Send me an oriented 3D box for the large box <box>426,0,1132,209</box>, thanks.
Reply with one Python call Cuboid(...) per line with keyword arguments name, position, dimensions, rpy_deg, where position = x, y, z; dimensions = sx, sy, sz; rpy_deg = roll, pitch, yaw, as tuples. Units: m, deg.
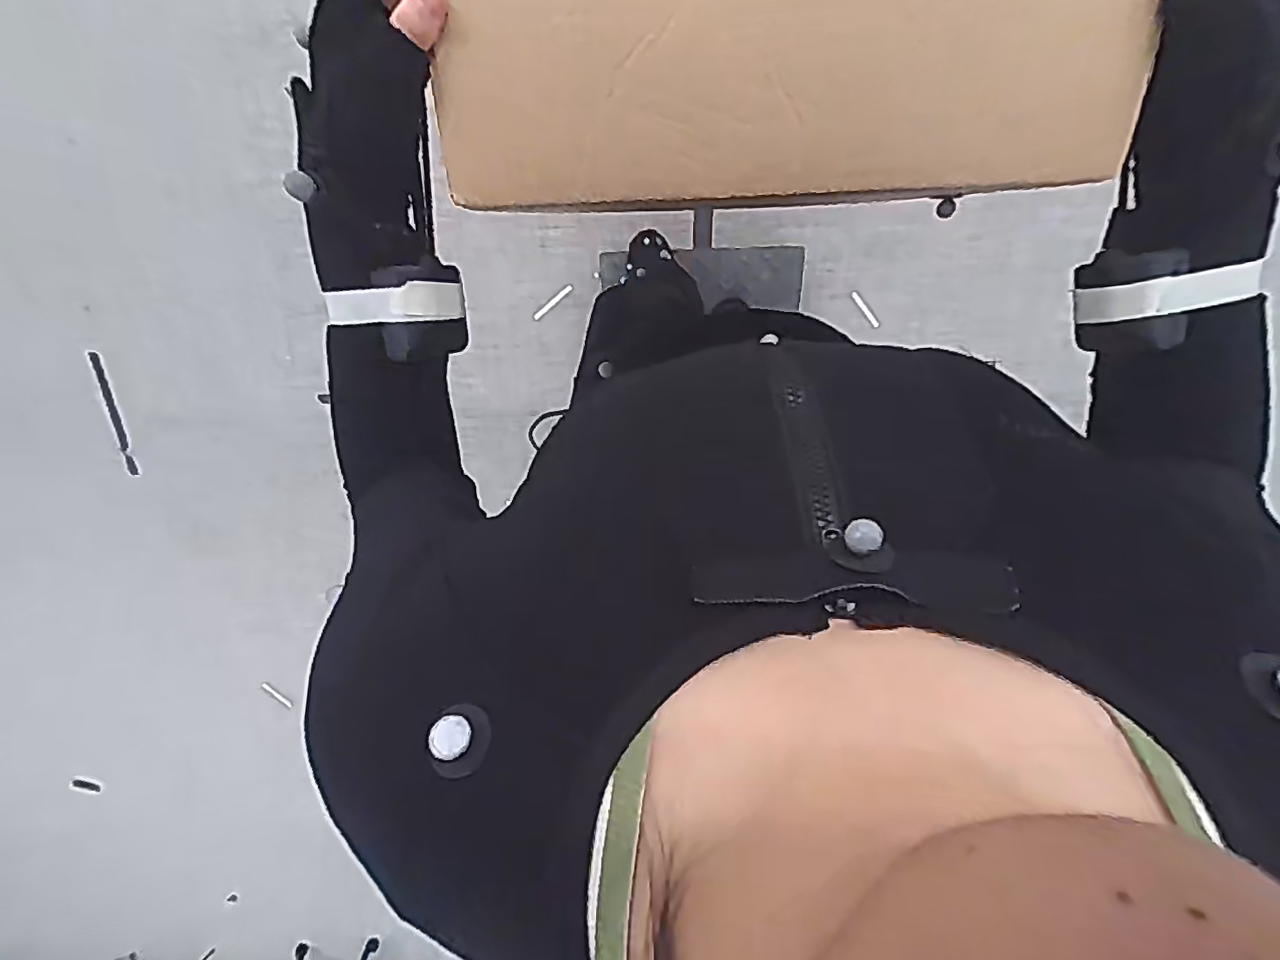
Cuboid(name="large box", position=(0.077, -0.387, 0.409), dimensions=(0.408, 0.320, 0.320), rpy_deg=(-2, 115, 0))
